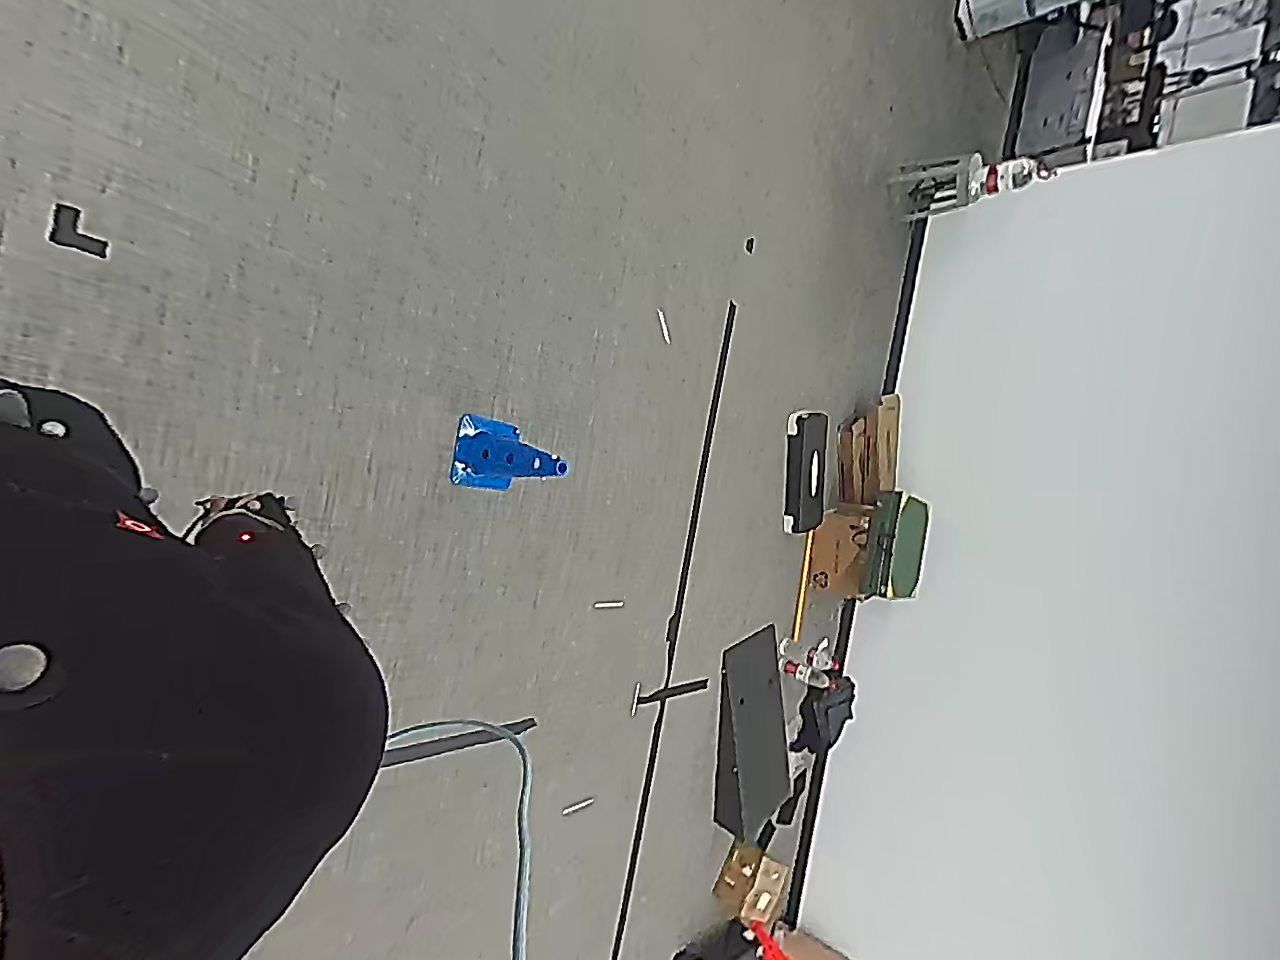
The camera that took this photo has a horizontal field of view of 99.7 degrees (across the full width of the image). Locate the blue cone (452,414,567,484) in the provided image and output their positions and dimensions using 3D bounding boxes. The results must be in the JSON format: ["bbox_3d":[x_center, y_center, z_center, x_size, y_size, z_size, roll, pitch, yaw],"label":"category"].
[{"bbox_3d":[-0.332,-0.068,1.459,0.193,0.380,0.192,13,87,-48],"label":"blue cone"}]
